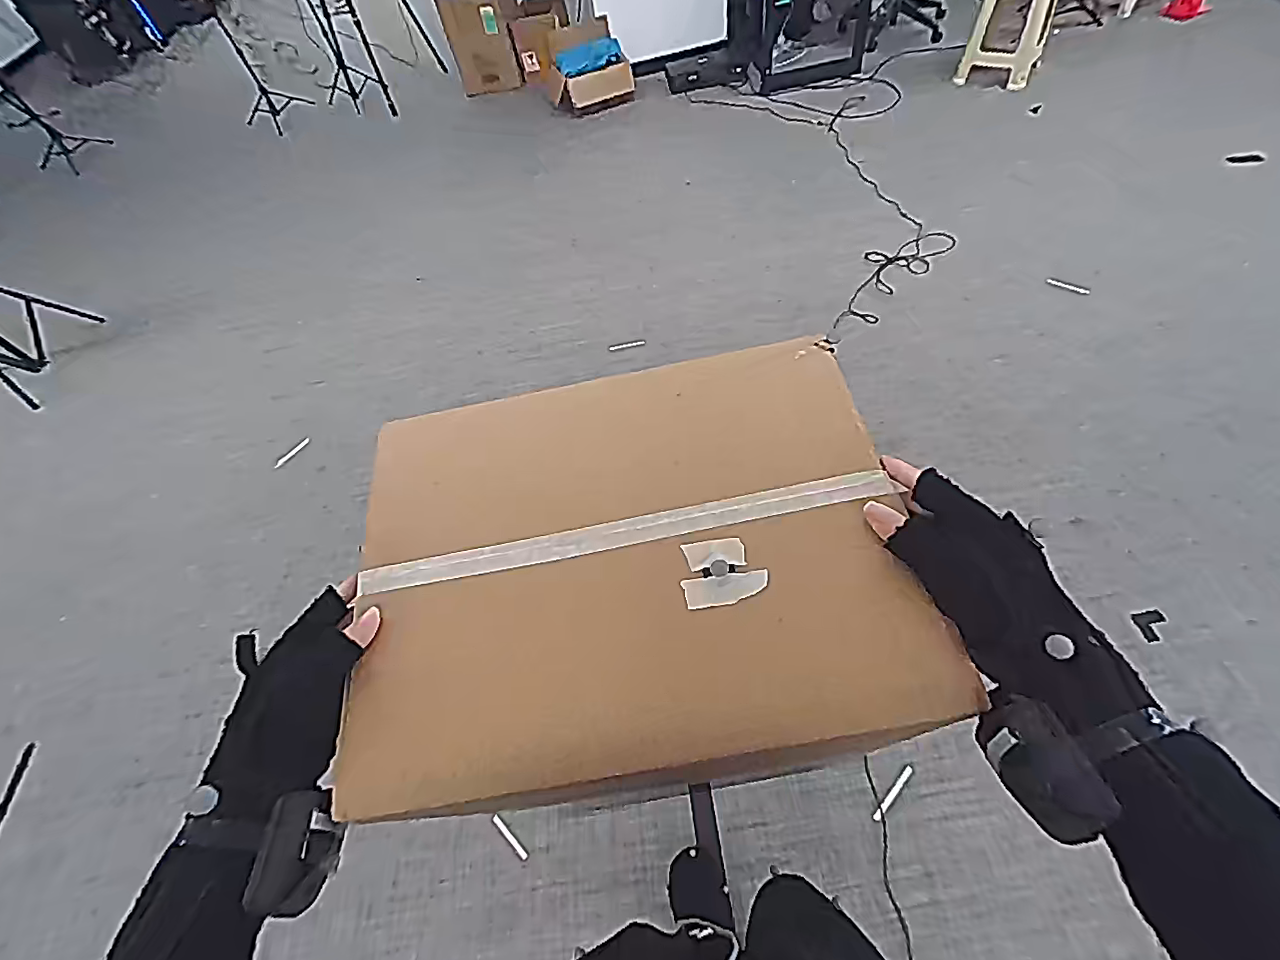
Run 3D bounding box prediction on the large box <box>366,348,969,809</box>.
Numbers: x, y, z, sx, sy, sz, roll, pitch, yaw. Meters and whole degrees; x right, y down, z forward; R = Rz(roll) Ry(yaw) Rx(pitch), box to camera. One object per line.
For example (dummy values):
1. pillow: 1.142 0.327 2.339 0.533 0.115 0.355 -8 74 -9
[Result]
1. large box: 0.010 0.120 0.547 0.408 0.320 0.320 -11 59 2
